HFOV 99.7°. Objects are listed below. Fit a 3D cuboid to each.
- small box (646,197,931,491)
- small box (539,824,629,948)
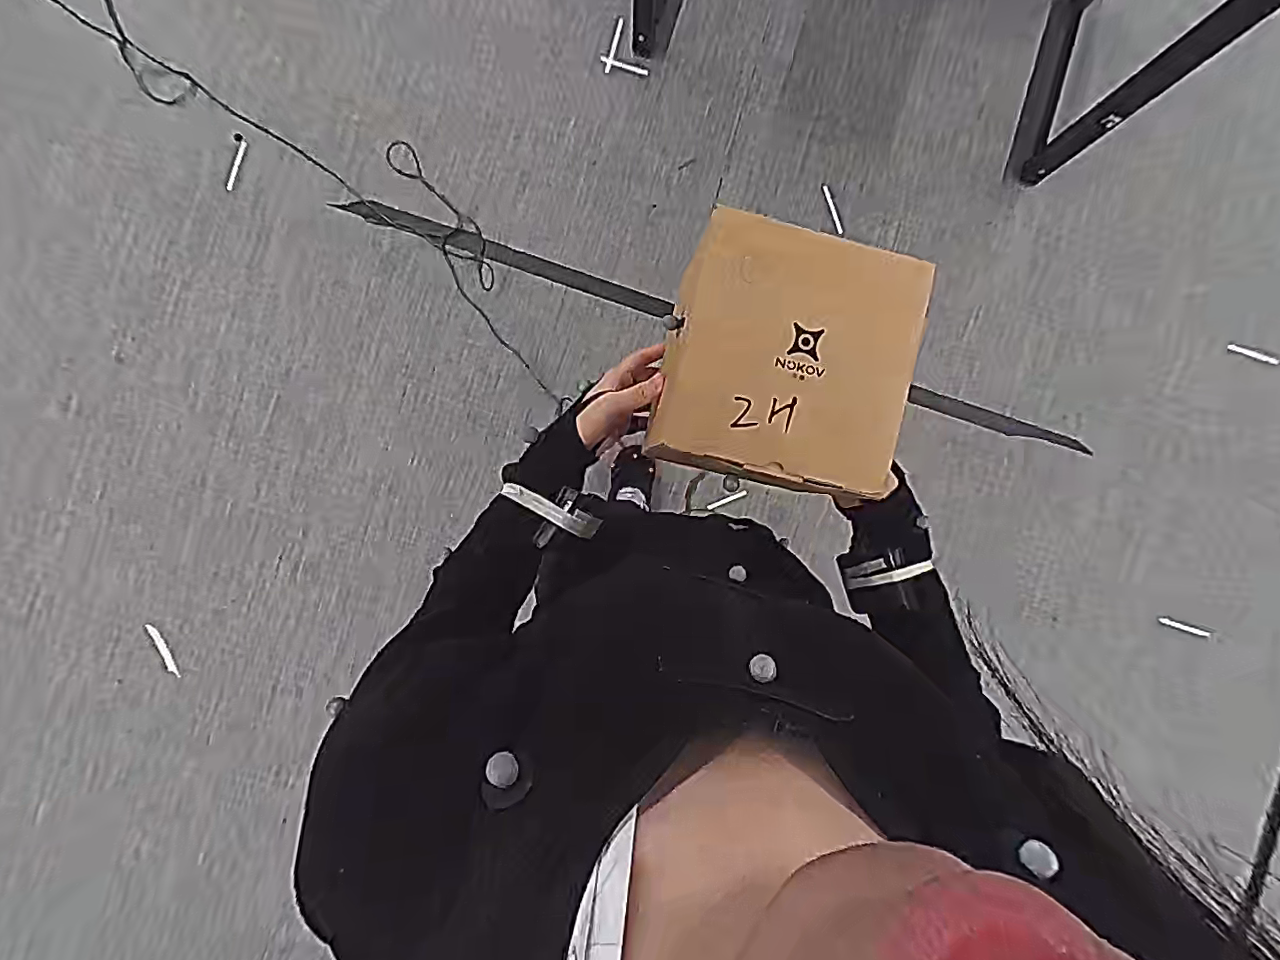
[{"bbox_3d":[0.105,-0.095,0.459,0.168,0.176,0.179,13,90,-4],"label":"small box"},{"bbox_3d":[-0.142,1.045,1.408,0.179,0.176,0.168,25,89,-3],"label":"small box"}]
